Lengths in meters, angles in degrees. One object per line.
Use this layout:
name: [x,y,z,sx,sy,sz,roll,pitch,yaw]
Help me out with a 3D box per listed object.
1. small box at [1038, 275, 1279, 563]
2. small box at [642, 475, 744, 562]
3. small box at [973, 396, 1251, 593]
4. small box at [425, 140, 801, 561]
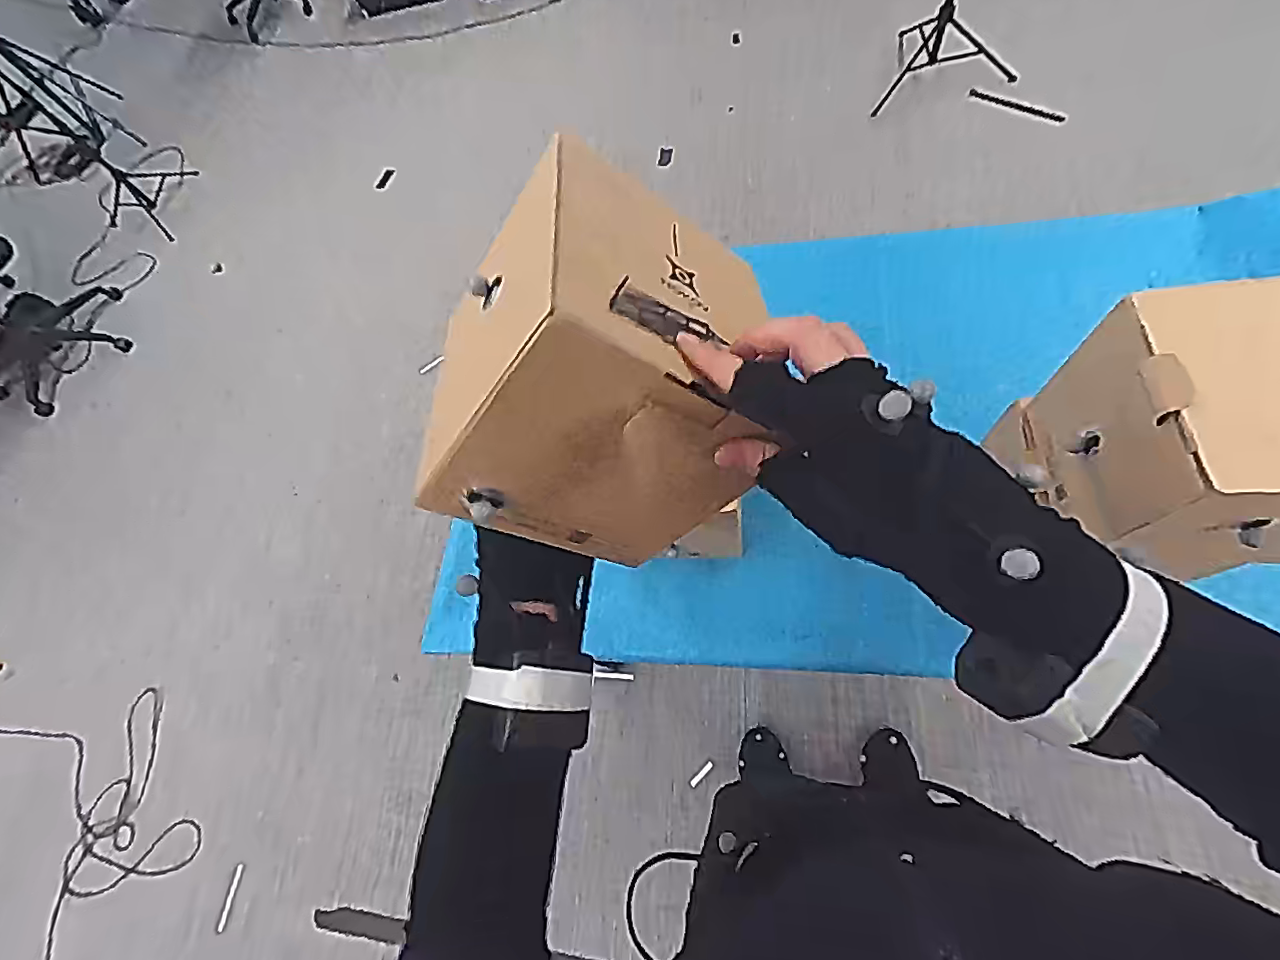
small box: [0.452,-0.036,0.425,0.179,0.176,0.168,-4,66,10]
small box: [0.043,-0.005,0.686,0.168,0.176,0.179,1,69,14]
small box: [0.479,0.022,0.574,0.179,0.176,0.168,-1,67,12]
small box: [-0.029,-0.066,0.358,0.176,0.168,0.179,-42,41,41]
